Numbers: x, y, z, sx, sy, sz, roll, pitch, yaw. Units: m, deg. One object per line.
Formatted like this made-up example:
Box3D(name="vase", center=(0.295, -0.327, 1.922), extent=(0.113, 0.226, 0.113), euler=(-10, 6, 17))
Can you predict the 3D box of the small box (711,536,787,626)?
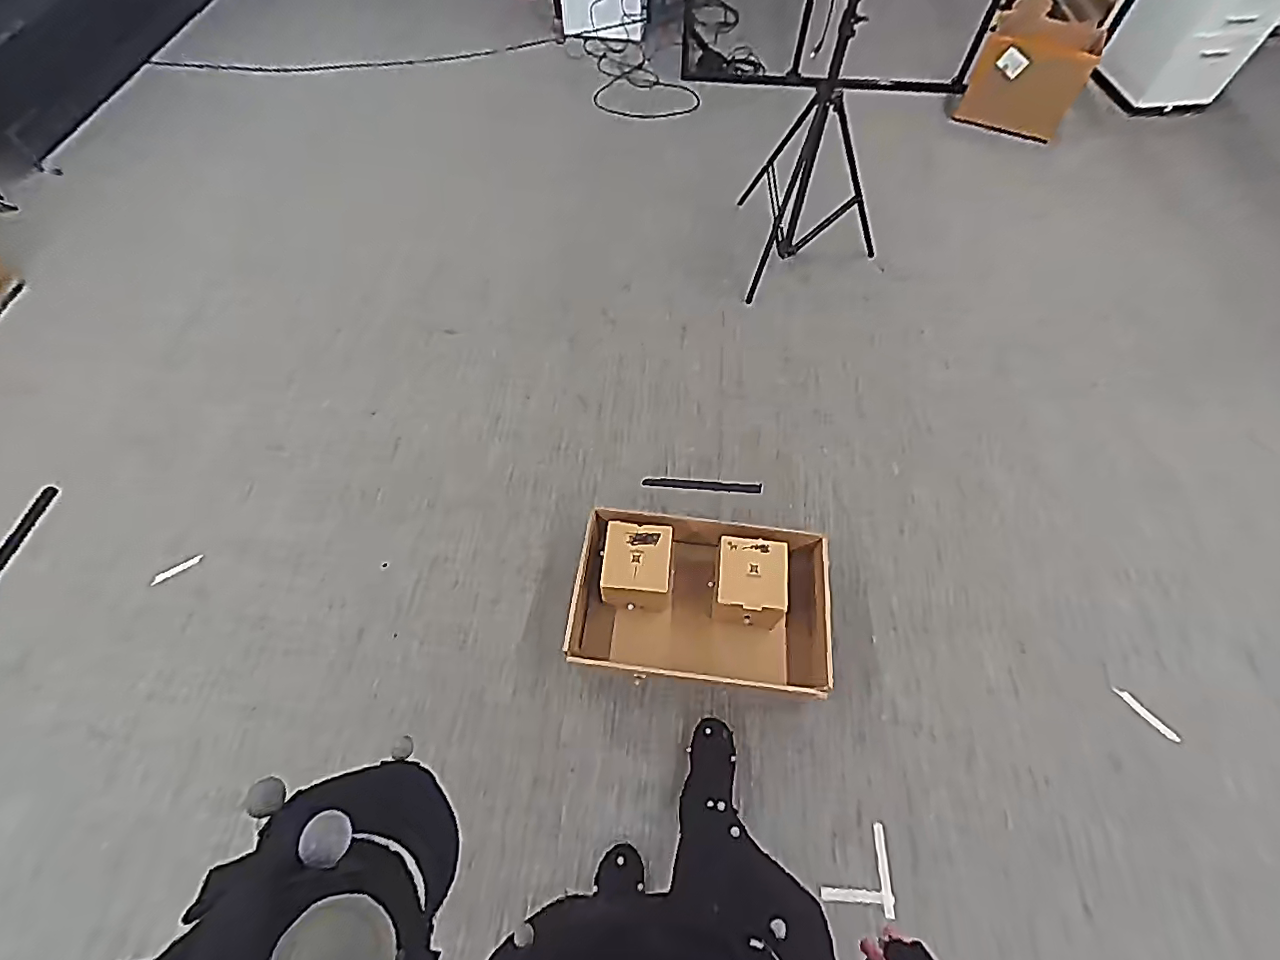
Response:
Box3D(name="small box", center=(0.273, 0.262, 1.378), extent=(0.168, 0.176, 0.179), euler=(7, 62, 4))
